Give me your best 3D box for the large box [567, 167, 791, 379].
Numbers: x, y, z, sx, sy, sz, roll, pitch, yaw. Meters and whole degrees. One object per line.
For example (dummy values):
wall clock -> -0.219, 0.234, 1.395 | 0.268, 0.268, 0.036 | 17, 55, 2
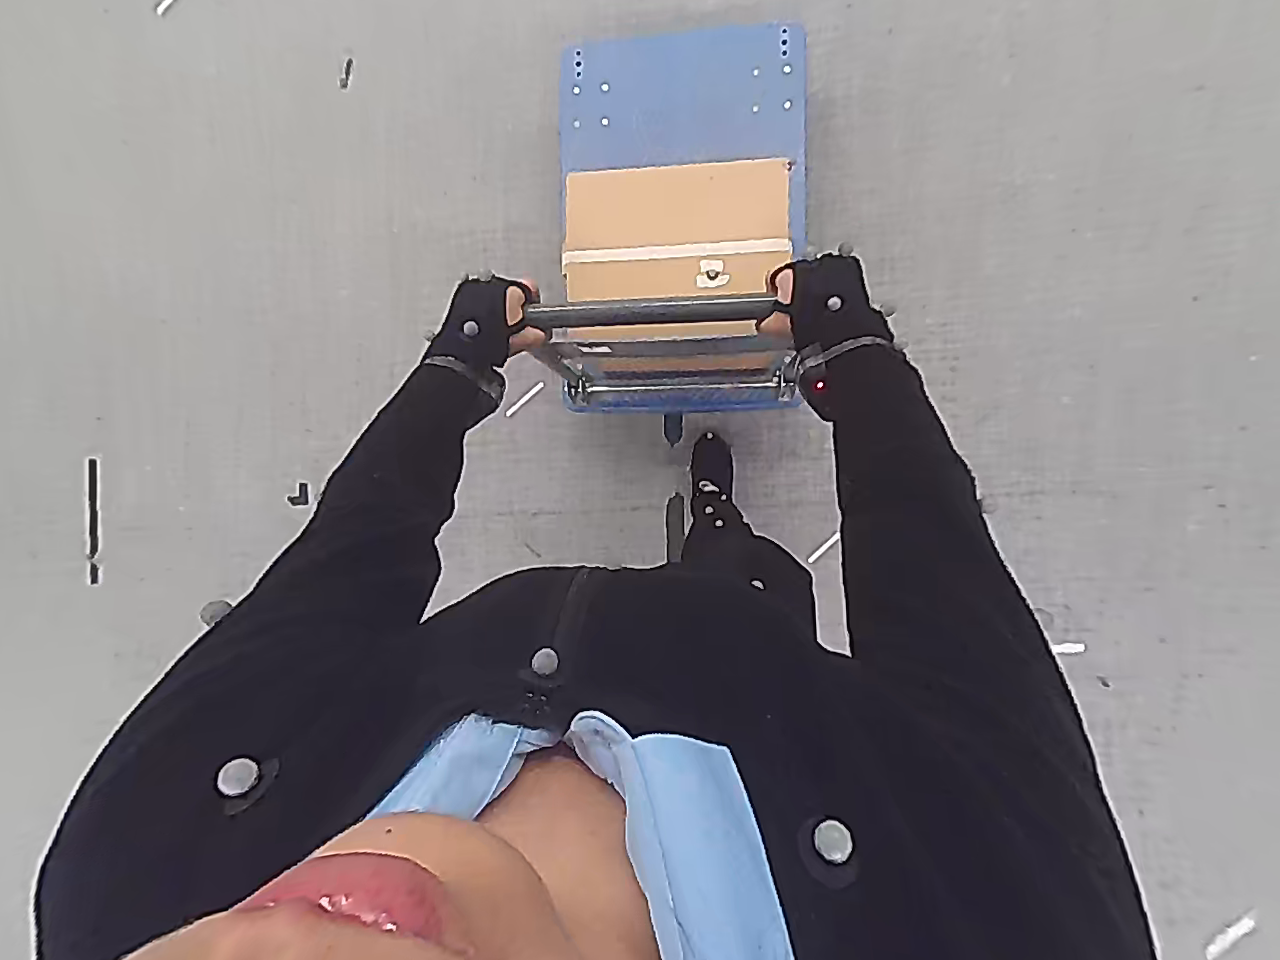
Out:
large box -> 0.080, -0.394, 1.115 | 0.408, 0.320, 0.320 | 0, 91, 6
